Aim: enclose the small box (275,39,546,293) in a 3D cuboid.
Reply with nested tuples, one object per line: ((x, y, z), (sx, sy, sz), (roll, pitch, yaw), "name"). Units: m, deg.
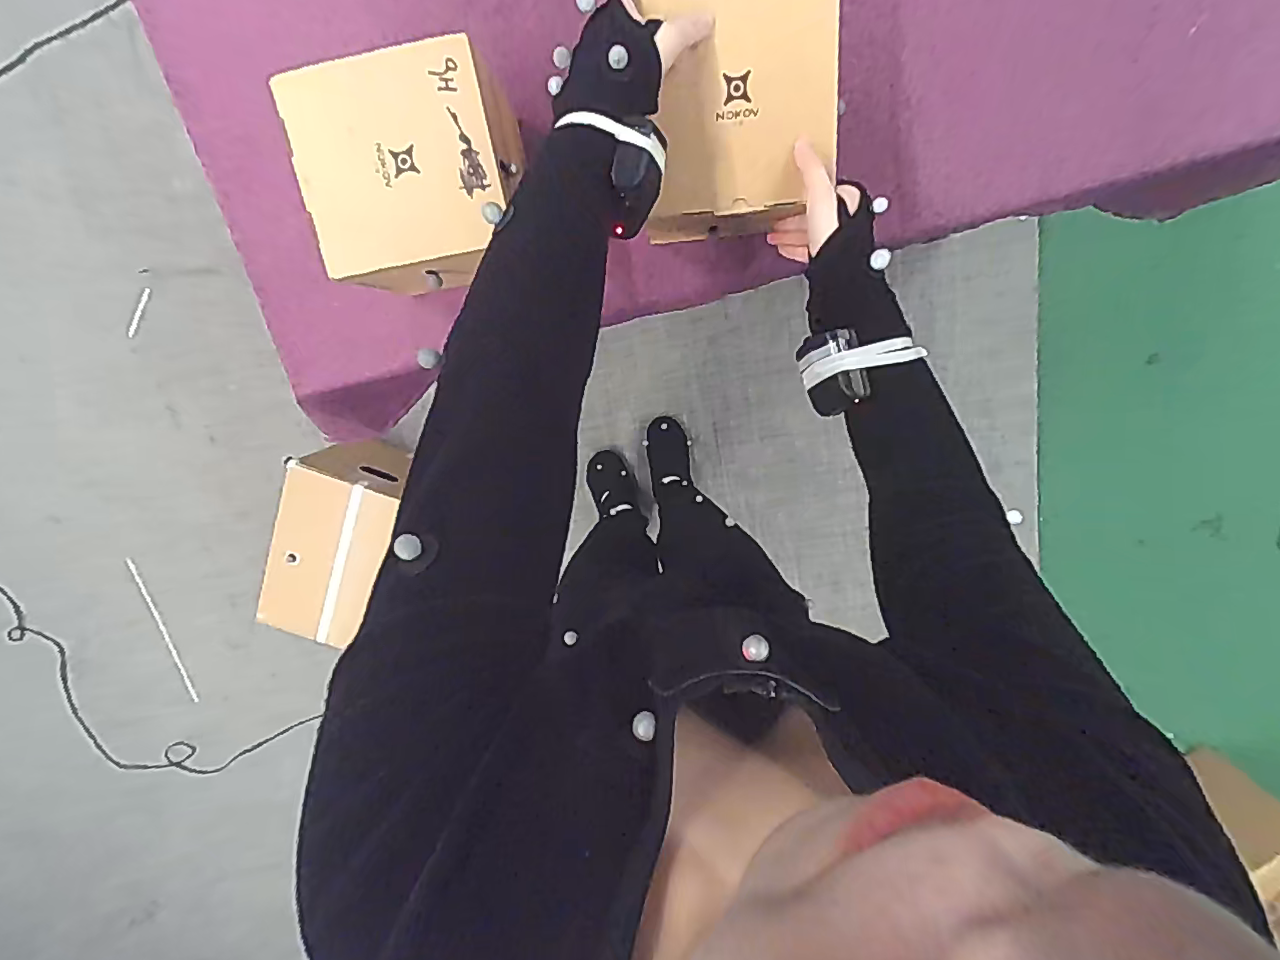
((-0.209, -0.292, 0.546), (0.179, 0.176, 0.168), (-10, 105, 3), "small box")

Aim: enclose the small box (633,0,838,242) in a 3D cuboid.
((0.082, -0.340, 0.524), (0.168, 0.176, 0.179), (-4, 109, 4), "small box")
